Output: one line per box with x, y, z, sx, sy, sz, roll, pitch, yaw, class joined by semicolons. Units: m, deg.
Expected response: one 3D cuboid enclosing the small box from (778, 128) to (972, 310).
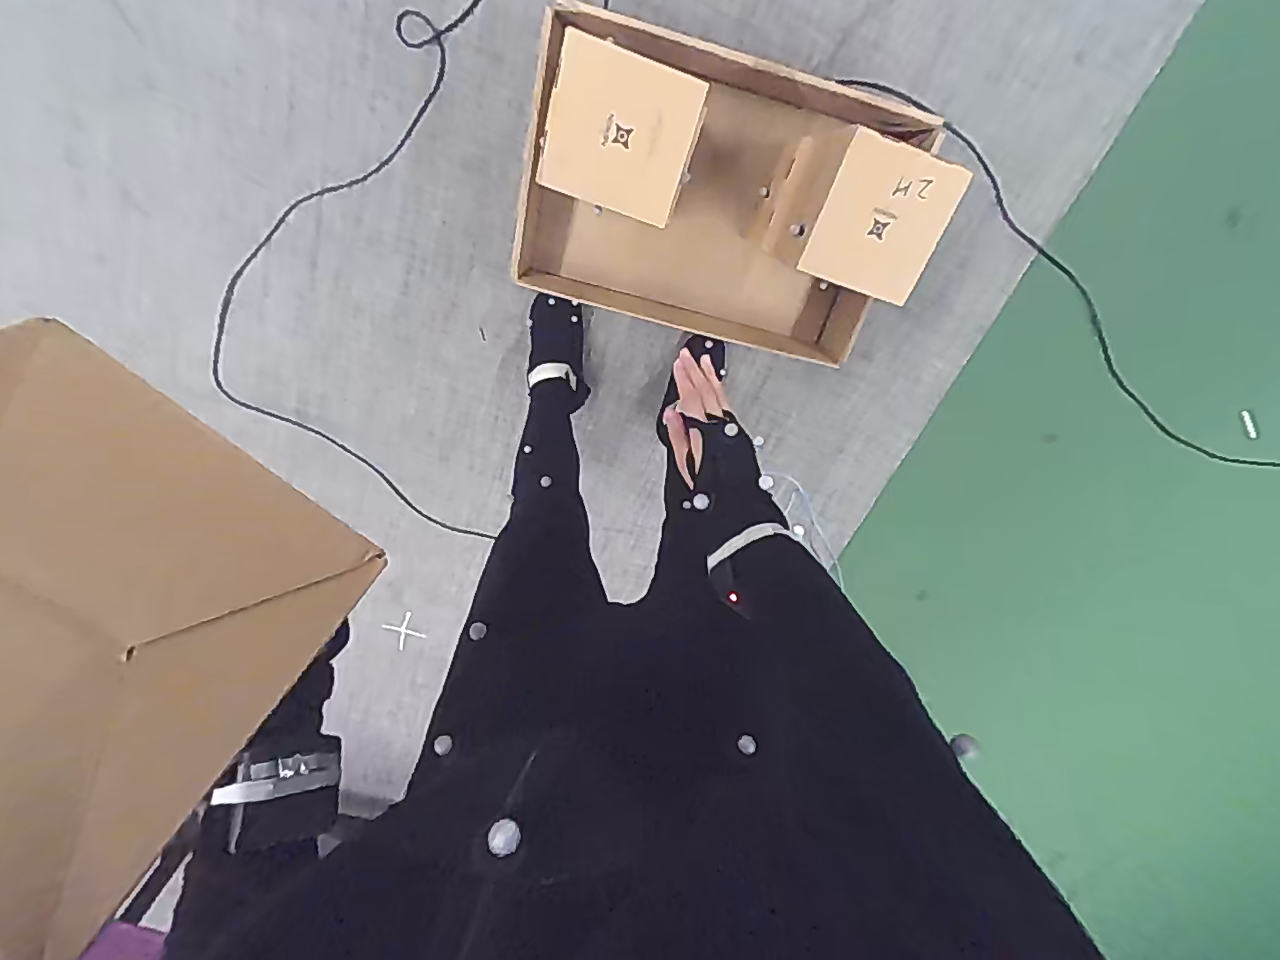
0.315;-0.369;0.775;0.168;0.176;0.179;17;116;-10;small box

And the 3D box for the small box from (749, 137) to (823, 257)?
0.302;-0.452;0.918;0.179;0.176;0.168;17;117;-8;small box

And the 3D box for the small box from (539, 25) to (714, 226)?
-0.020;-0.461;0.728;0.179;0.176;0.168;17;118;-9;small box
